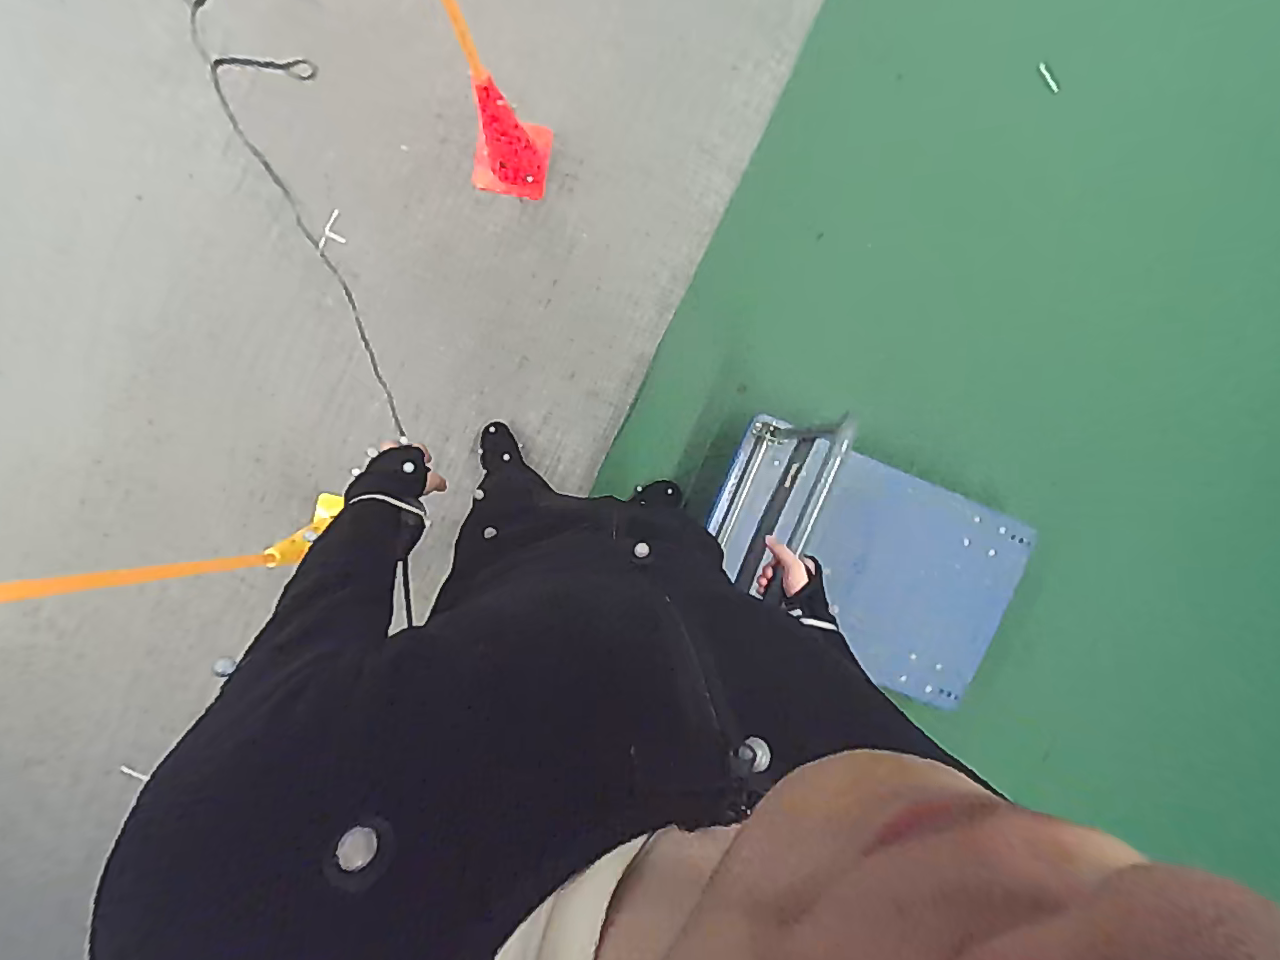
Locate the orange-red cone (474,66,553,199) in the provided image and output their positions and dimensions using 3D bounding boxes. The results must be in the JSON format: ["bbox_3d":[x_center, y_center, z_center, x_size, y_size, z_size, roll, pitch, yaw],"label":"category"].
[{"bbox_3d":[-0.348,-0.899,1.352,0.198,0.360,0.199,11,93,-3],"label":"orange-red cone"}]
